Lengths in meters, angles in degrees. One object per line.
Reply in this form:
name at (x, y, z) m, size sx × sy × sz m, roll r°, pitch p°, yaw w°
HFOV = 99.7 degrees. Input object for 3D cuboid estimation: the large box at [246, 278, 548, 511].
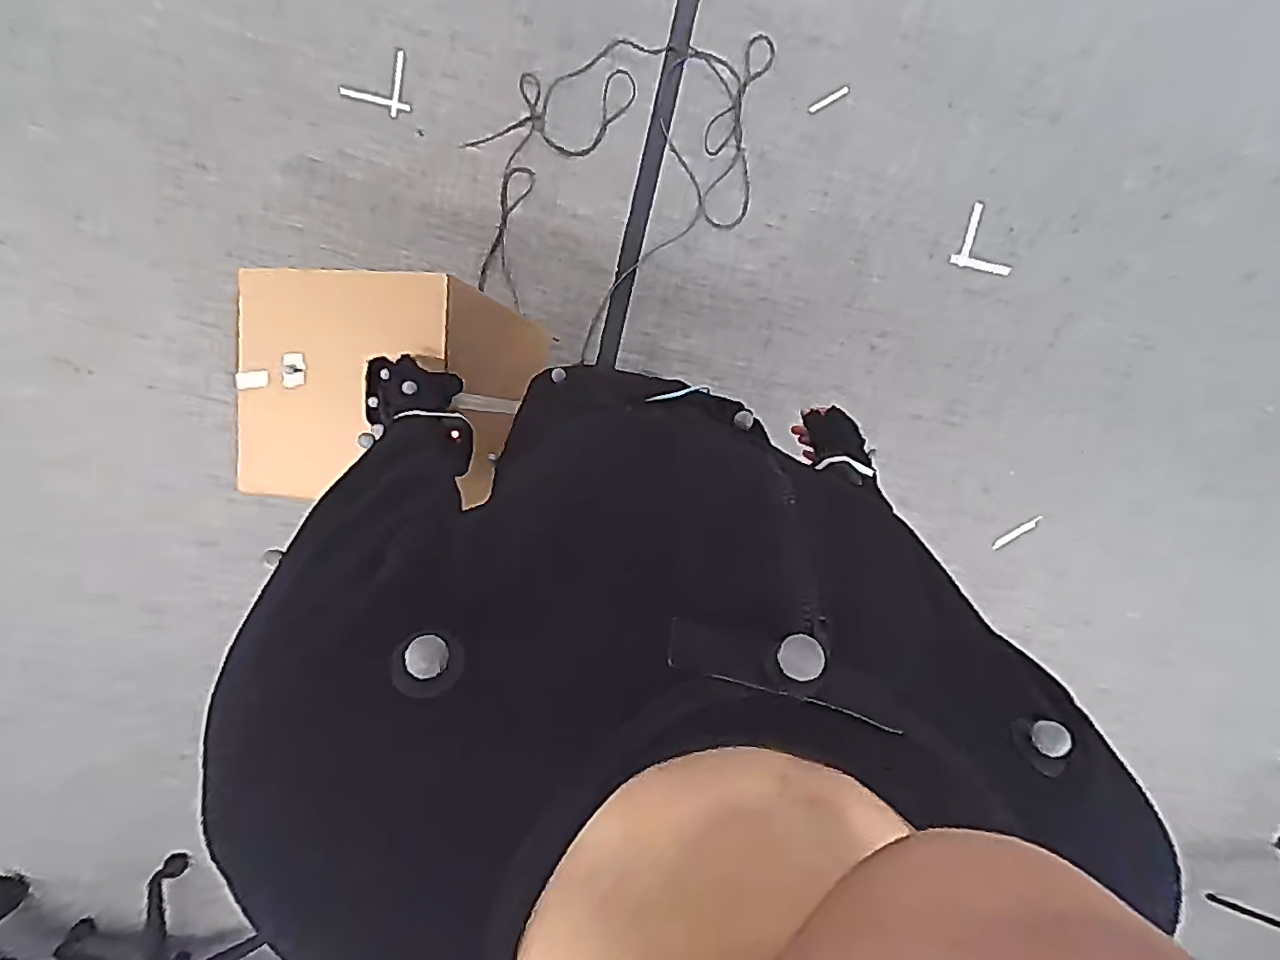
large box at (-0.378, -0.141, 0.933) m, size 0.320 × 0.408 × 0.320 m, roll 6°, pitch 96°, yaw 9°
